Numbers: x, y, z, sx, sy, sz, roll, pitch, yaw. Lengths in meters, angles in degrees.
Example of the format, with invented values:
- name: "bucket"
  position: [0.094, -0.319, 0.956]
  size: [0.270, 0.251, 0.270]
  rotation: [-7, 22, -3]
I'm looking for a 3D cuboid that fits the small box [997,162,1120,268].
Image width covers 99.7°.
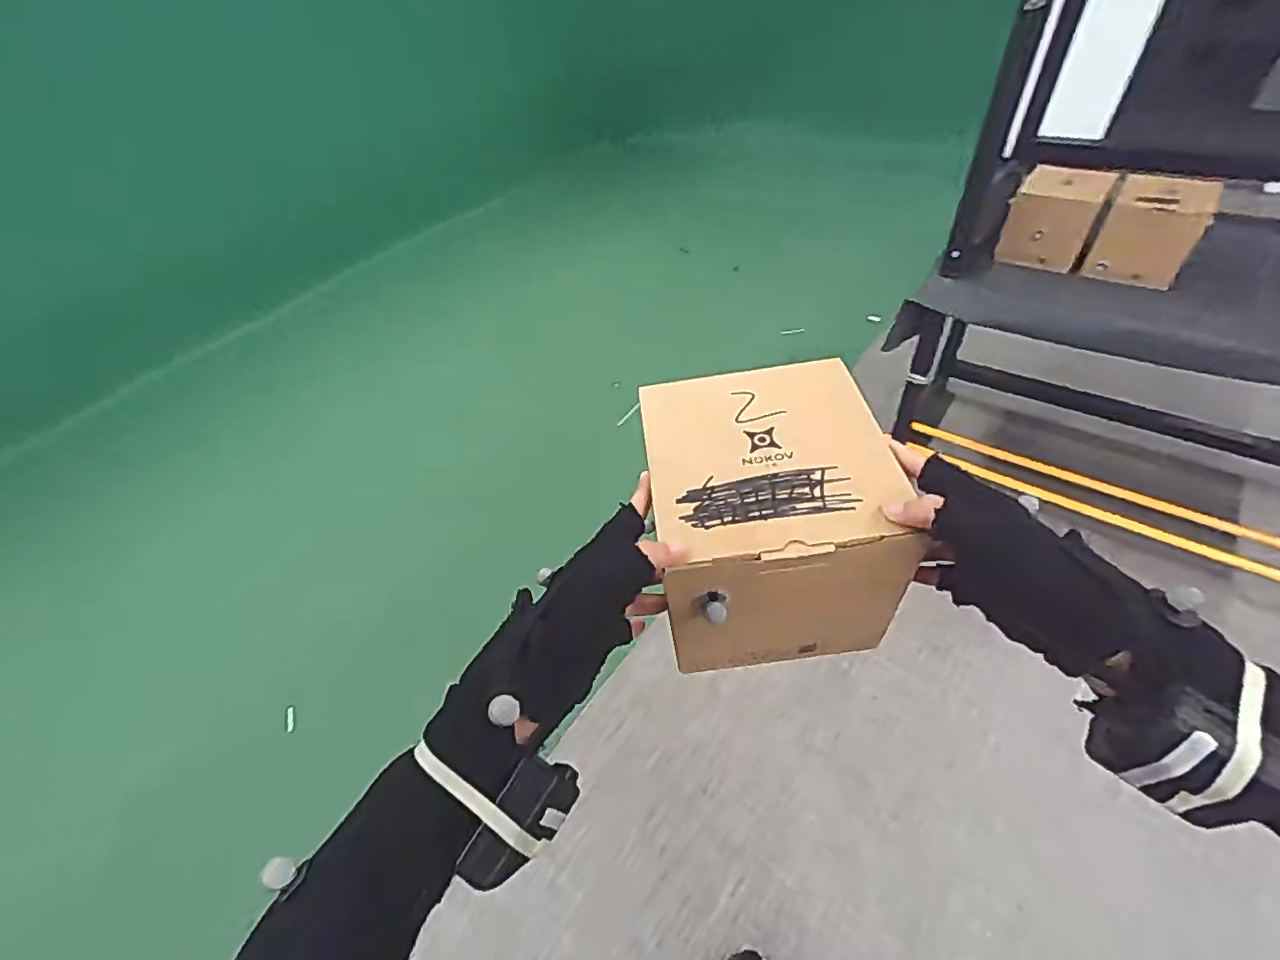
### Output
- name: "small box"
  position: [0.990, -0.633, 1.294]
  size: [0.168, 0.176, 0.179]
  rotation: [29, 58, 29]
